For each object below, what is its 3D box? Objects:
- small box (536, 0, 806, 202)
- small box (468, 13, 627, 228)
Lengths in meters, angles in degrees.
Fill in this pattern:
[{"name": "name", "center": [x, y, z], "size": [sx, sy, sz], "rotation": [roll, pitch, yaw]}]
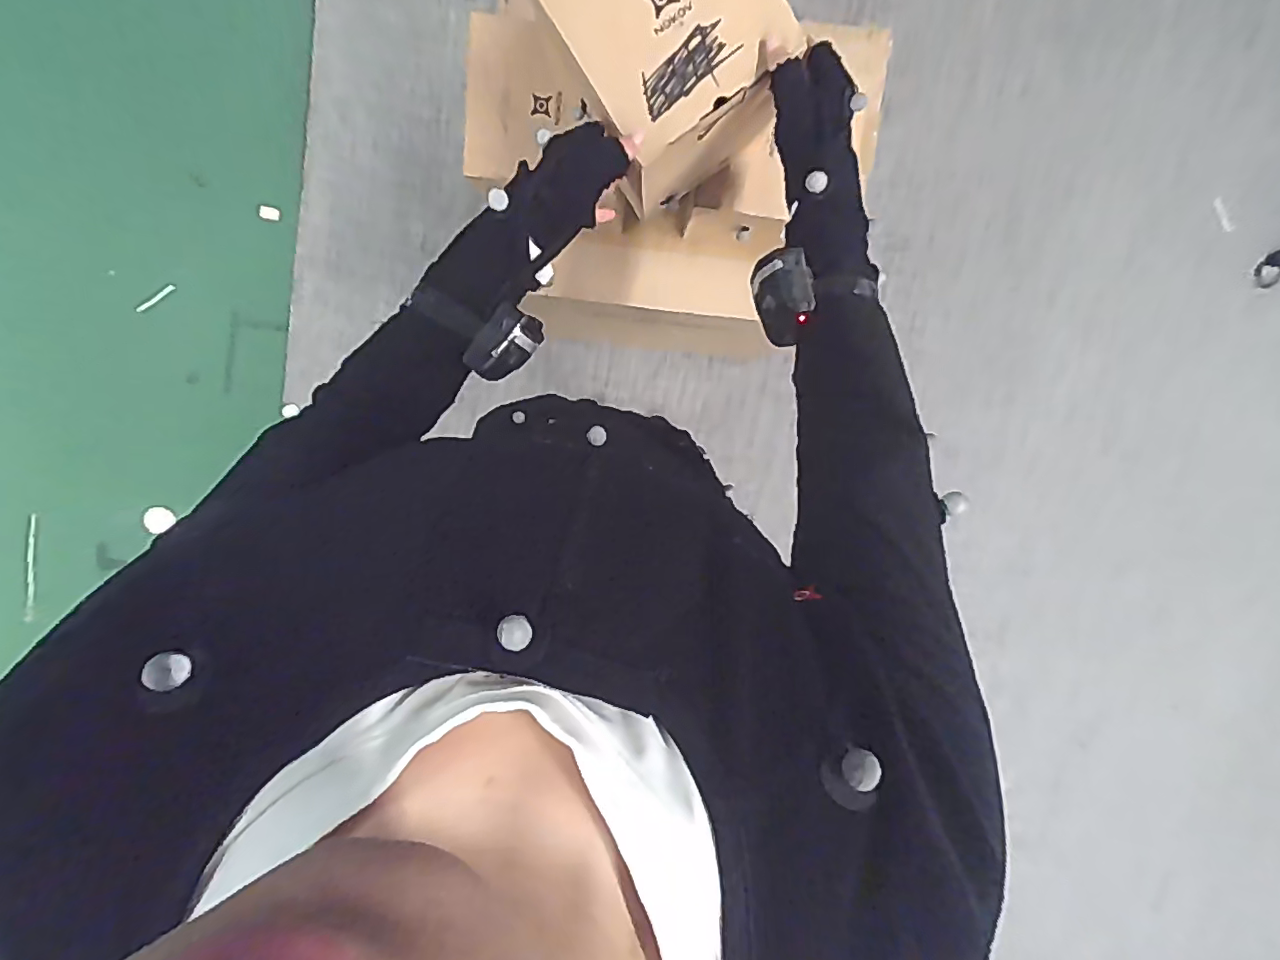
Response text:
[{"name": "small box", "center": [0.025, -0.397, 0.516], "size": [0.168, 0.176, 0.179], "rotation": [-33, 98, 6]}, {"name": "small box", "center": [-0.100, -0.430, 0.677], "size": [0.179, 0.176, 0.168], "rotation": [6, 99, 0]}]
